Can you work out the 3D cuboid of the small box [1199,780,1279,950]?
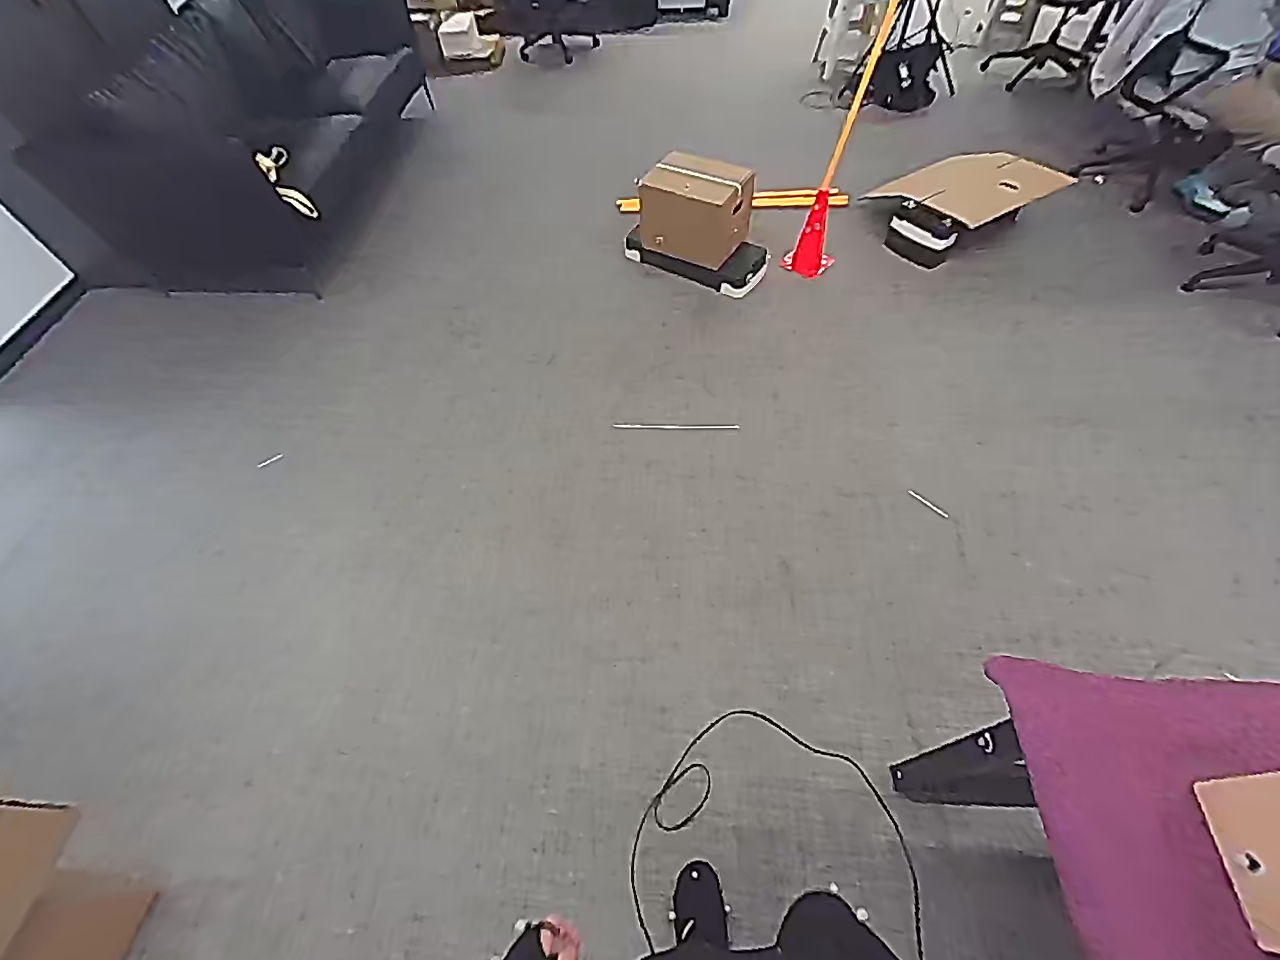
[{"bbox_3d":[0.808,0.444,0.601,0.168,0.176,0.179,3,56,5],"label":"small box"}]
